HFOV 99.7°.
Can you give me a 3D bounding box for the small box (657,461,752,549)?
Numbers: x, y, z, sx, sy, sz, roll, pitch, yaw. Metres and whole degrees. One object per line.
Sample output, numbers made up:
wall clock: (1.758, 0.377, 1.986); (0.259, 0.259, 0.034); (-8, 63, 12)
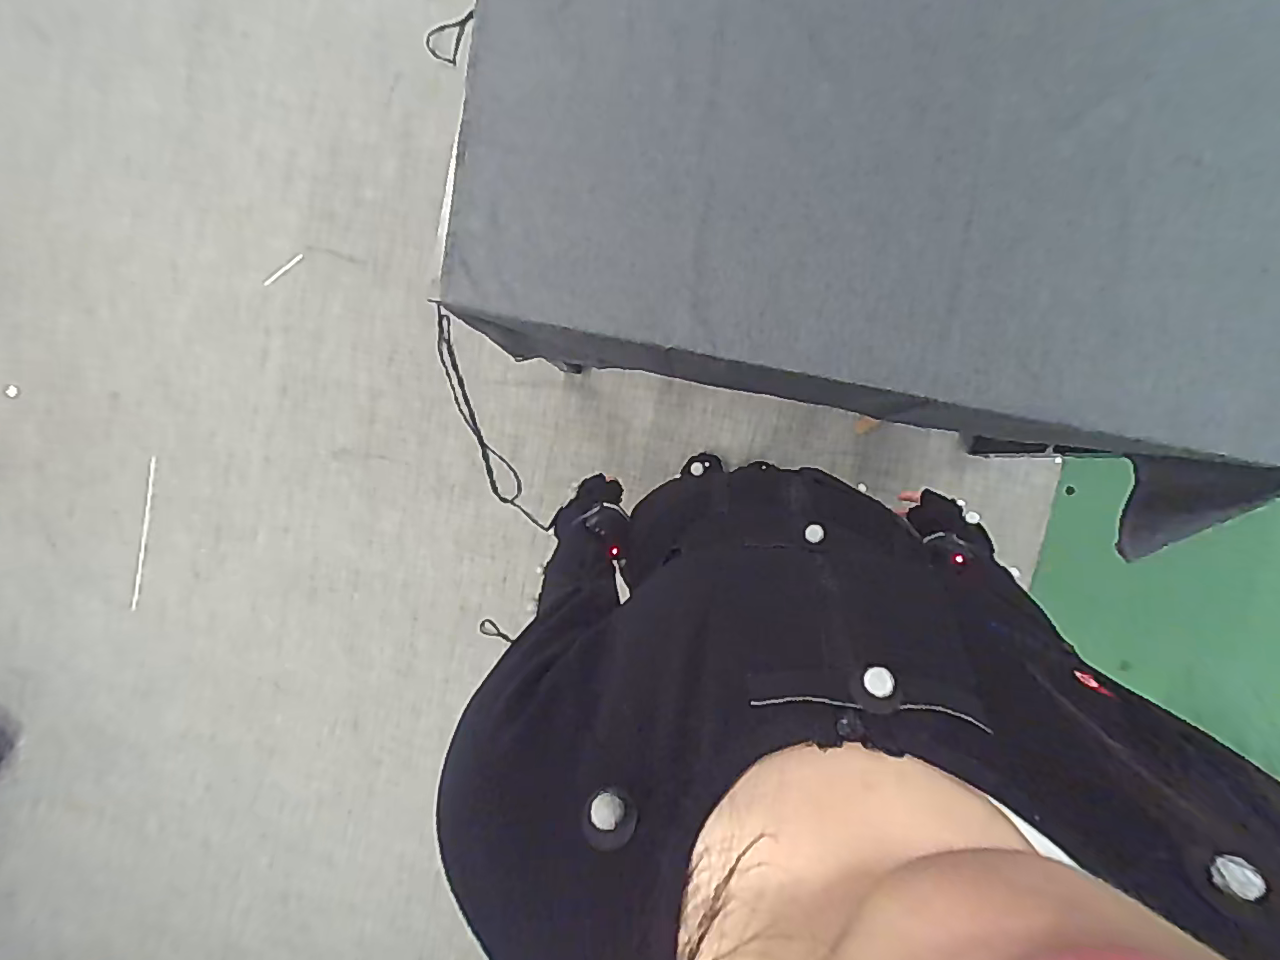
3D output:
small box: (0.166, 0.064, 1.429); (0.168, 0.176, 0.179); (-44, 72, 17)
